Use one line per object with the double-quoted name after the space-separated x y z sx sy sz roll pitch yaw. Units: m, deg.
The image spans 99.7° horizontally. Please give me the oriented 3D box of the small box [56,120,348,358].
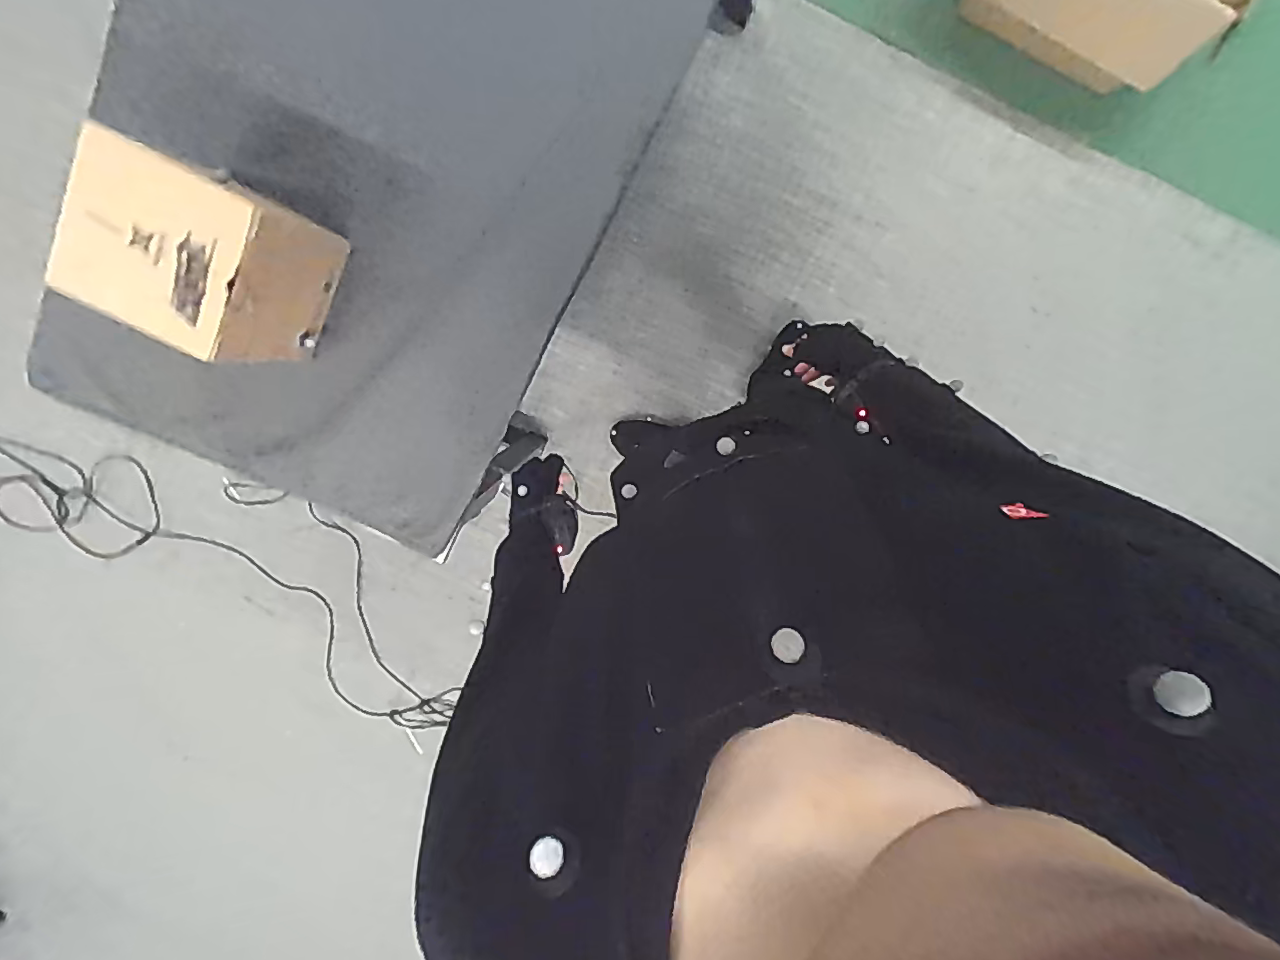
-0.472 -0.253 0.611 0.179 0.176 0.168 27 102 -4 "small box"
